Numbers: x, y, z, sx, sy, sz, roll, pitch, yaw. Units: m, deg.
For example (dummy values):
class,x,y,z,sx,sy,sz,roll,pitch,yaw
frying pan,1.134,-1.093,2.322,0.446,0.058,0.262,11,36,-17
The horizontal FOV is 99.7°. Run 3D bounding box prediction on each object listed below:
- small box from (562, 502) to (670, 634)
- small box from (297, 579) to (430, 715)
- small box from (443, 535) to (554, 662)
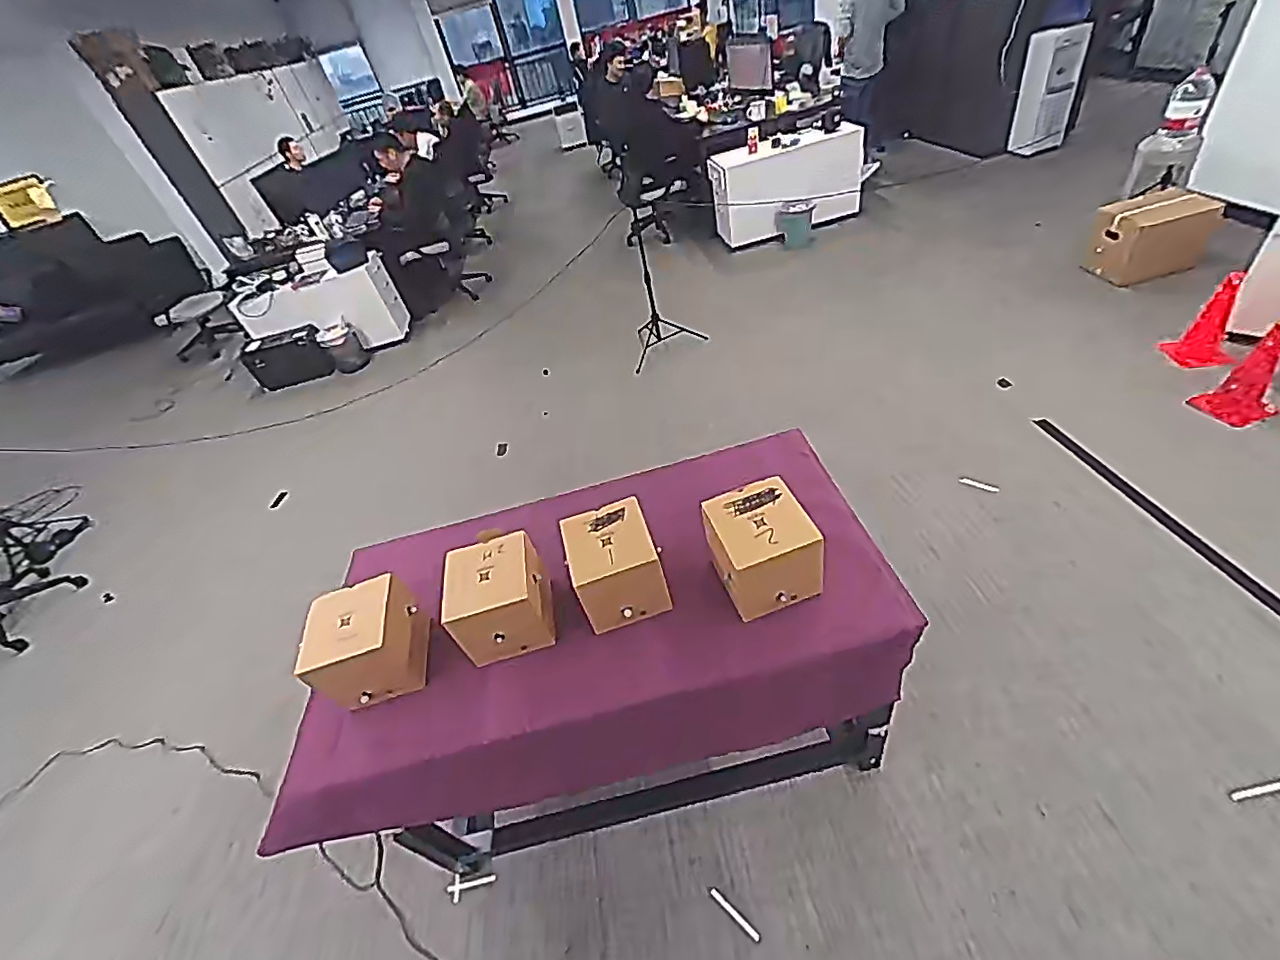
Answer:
class,x,y,z,sx,sy,sz,roll,pitch,yaw
small box,-0.048,0.179,1.102,0.168,0.176,0.179,-19,42,-3
small box,-0.540,0.335,1.085,0.168,0.176,0.179,-18,41,-2
small box,-0.280,0.248,1.099,0.168,0.176,0.179,-17,41,-1
